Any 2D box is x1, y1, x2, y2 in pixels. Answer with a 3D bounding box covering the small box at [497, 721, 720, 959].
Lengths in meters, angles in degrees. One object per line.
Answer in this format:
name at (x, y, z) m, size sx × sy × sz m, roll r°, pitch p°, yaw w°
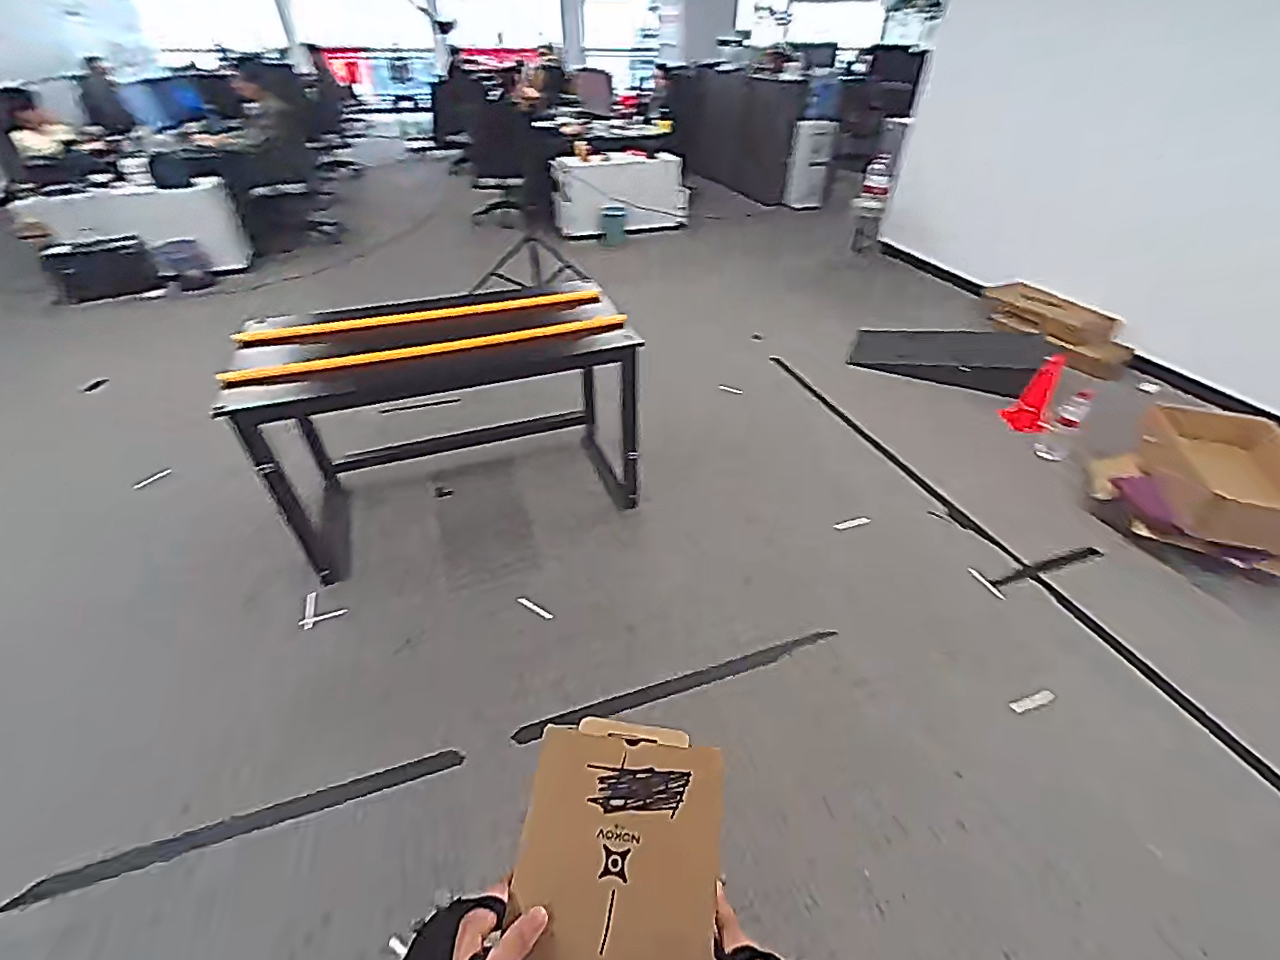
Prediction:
small box at (-0.017, 0.349, 0.516) m, size 0.168 × 0.176 × 0.179 m, roll 5°, pitch 55°, yaw 5°
